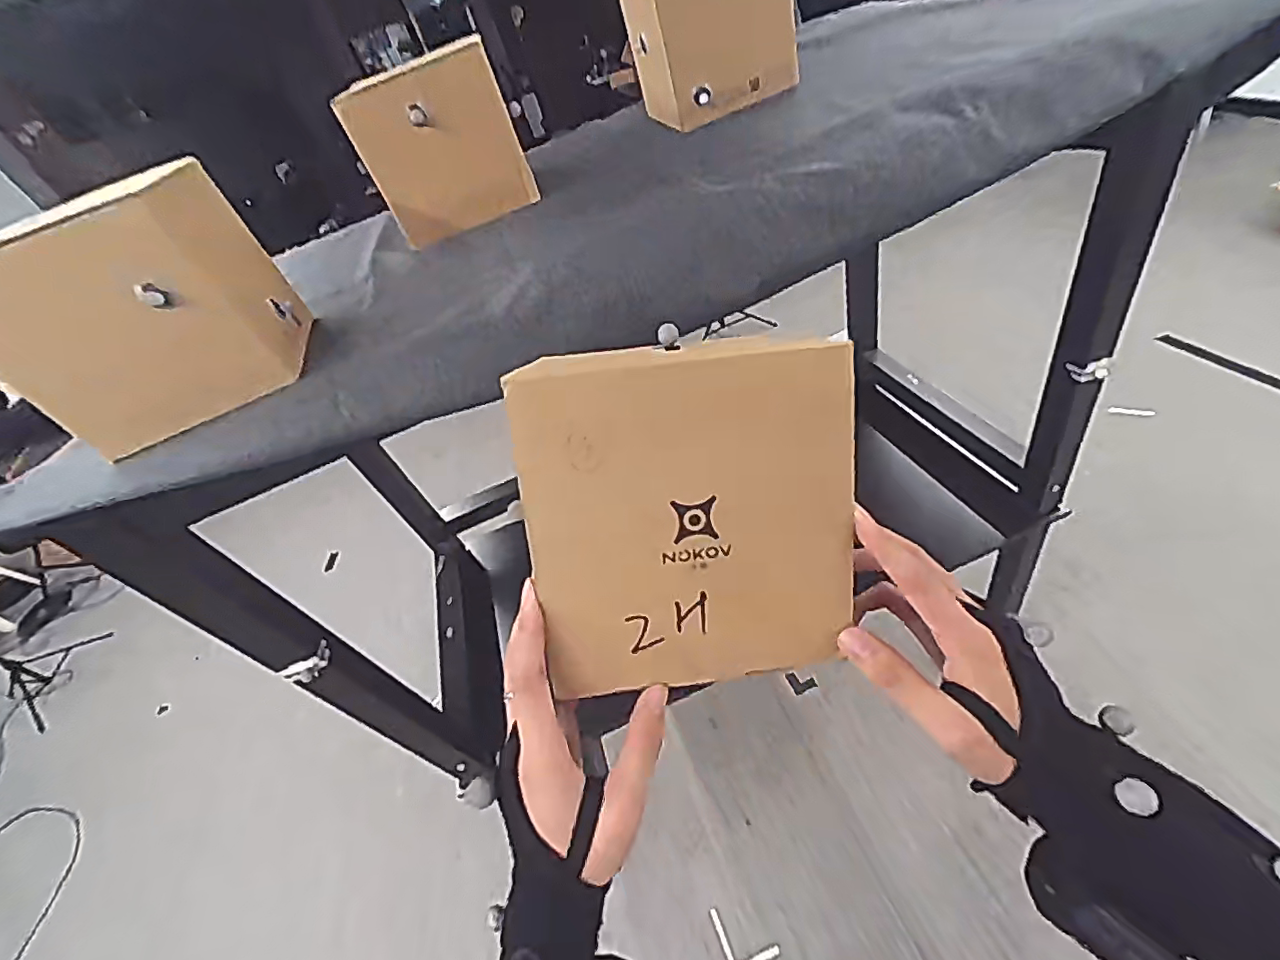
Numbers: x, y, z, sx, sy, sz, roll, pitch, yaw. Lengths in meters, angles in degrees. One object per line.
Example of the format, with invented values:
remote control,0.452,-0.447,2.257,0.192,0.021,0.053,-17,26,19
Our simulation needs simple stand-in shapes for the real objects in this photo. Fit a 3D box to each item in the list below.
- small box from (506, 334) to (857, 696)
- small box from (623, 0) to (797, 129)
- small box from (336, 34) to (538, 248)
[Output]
small box,0.020,0.003,0.344,0.168,0.179,0.176,-6,17,-2
small box,0.091,-0.587,0.708,0.168,0.176,0.179,-22,42,0
small box,-0.238,-0.426,0.683,0.179,0.176,0.168,-21,43,2
